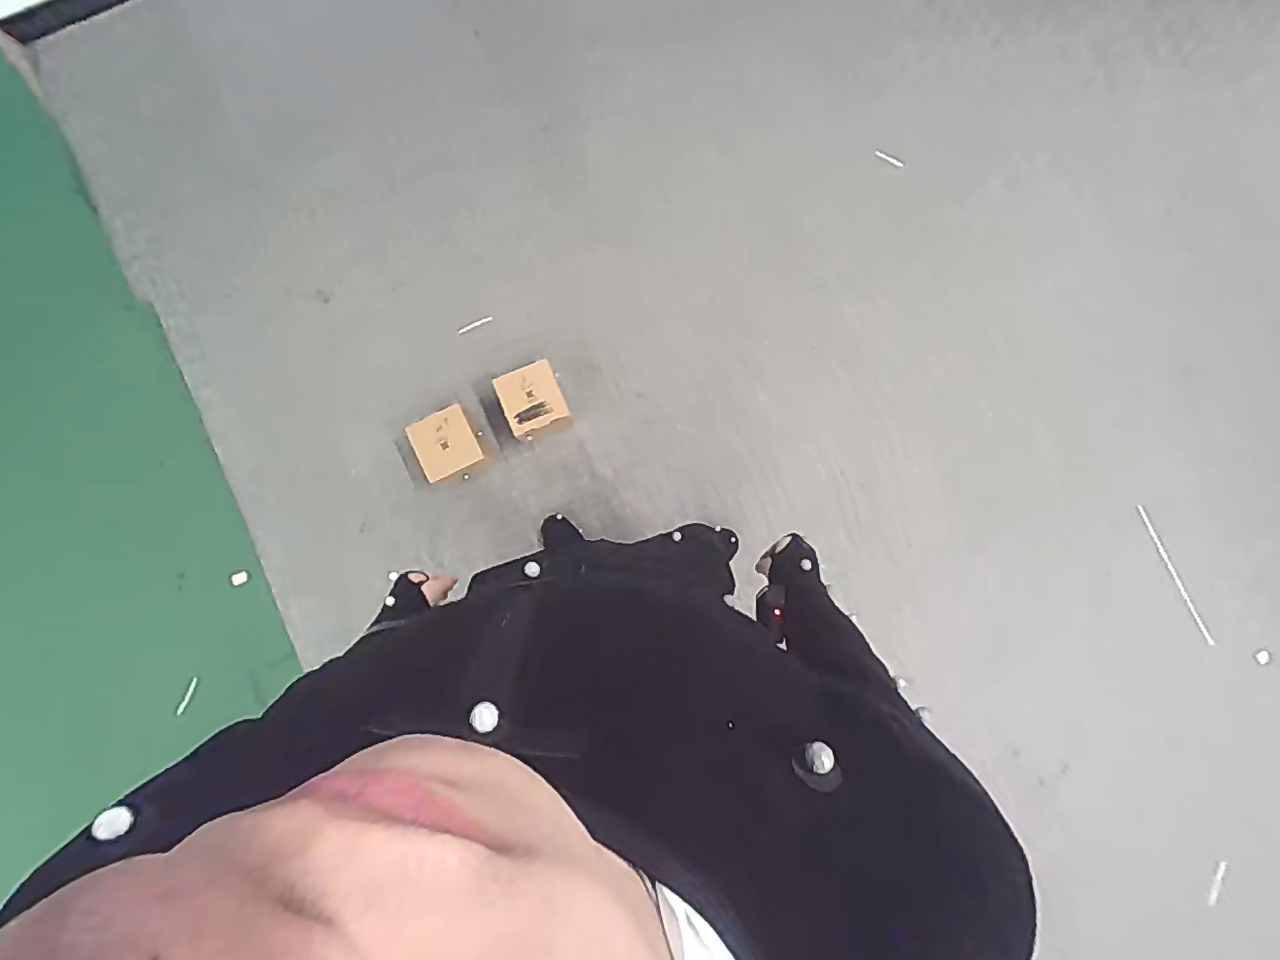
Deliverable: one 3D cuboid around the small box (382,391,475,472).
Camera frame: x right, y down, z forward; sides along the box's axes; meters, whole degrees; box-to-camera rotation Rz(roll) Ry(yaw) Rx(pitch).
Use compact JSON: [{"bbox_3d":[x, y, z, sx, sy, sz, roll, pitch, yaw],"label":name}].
[{"bbox_3d":[-0.592,-0.131,1.537,0.168,0.176,0.179,-24,89,-4],"label":"small box"}]
